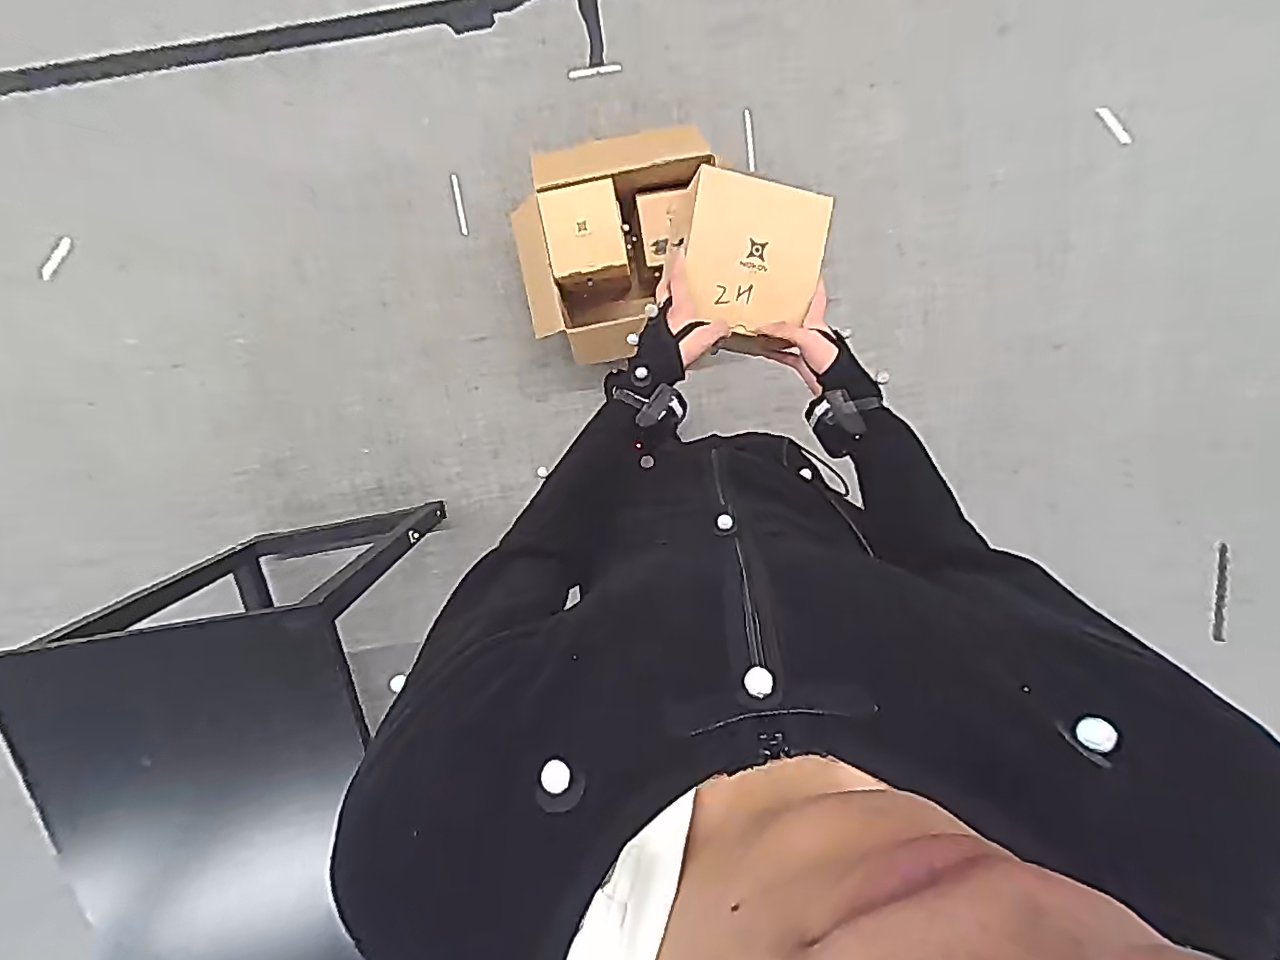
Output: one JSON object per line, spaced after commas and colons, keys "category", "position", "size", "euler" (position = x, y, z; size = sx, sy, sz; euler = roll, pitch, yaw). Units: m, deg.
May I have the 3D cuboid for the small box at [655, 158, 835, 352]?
{"category": "small box", "position": [0.123, -0.274, 0.703], "size": [0.168, 0.176, 0.179], "euler": [9, 97, -9]}
